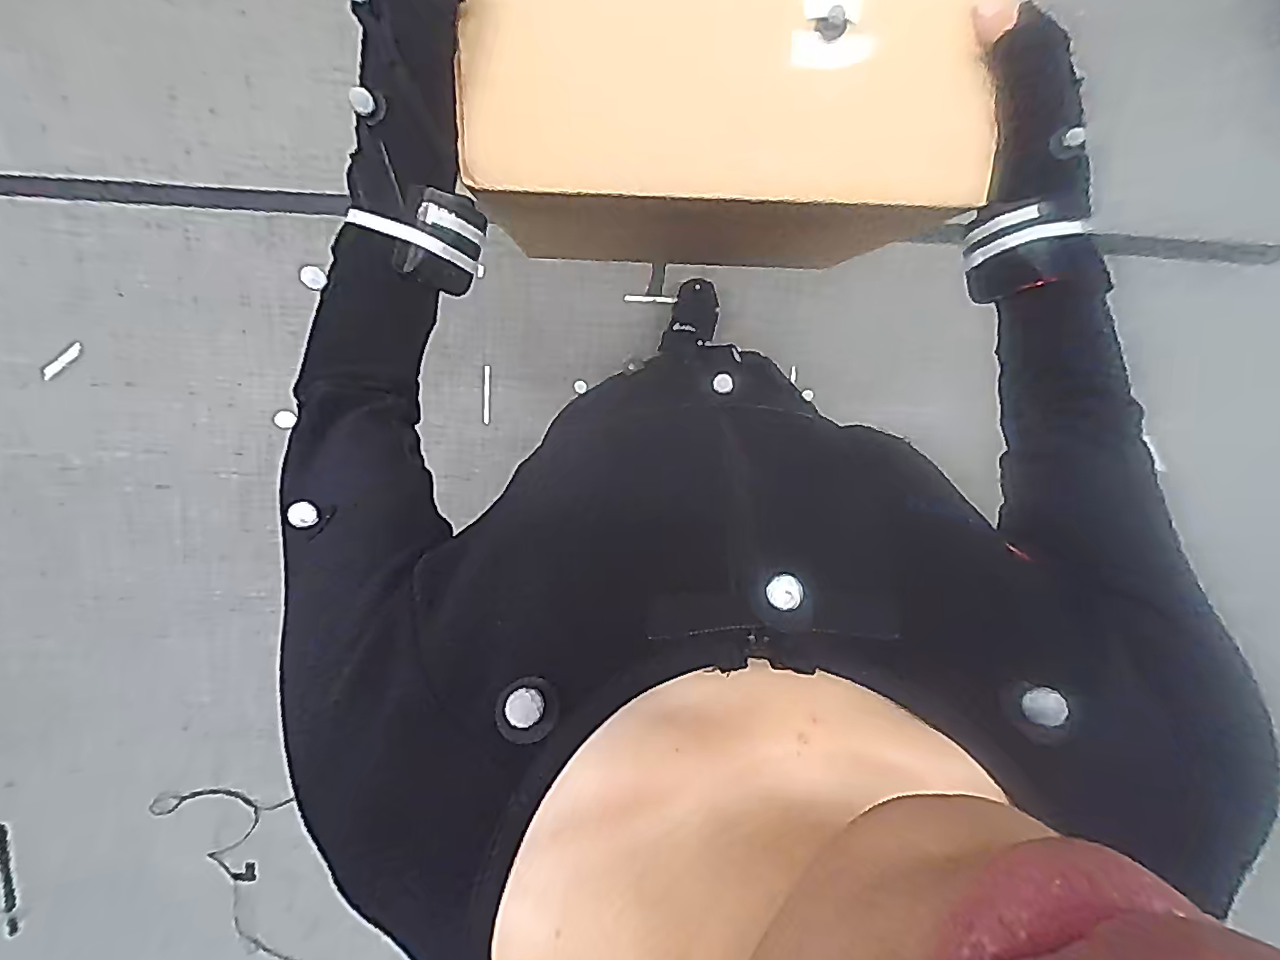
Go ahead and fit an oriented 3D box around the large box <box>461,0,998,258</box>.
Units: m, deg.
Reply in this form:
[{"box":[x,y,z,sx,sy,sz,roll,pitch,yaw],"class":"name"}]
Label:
[{"box":[0.060,-0.412,0.533,0.408,0.320,0.320,0,103,-3],"class":"large box"}]
